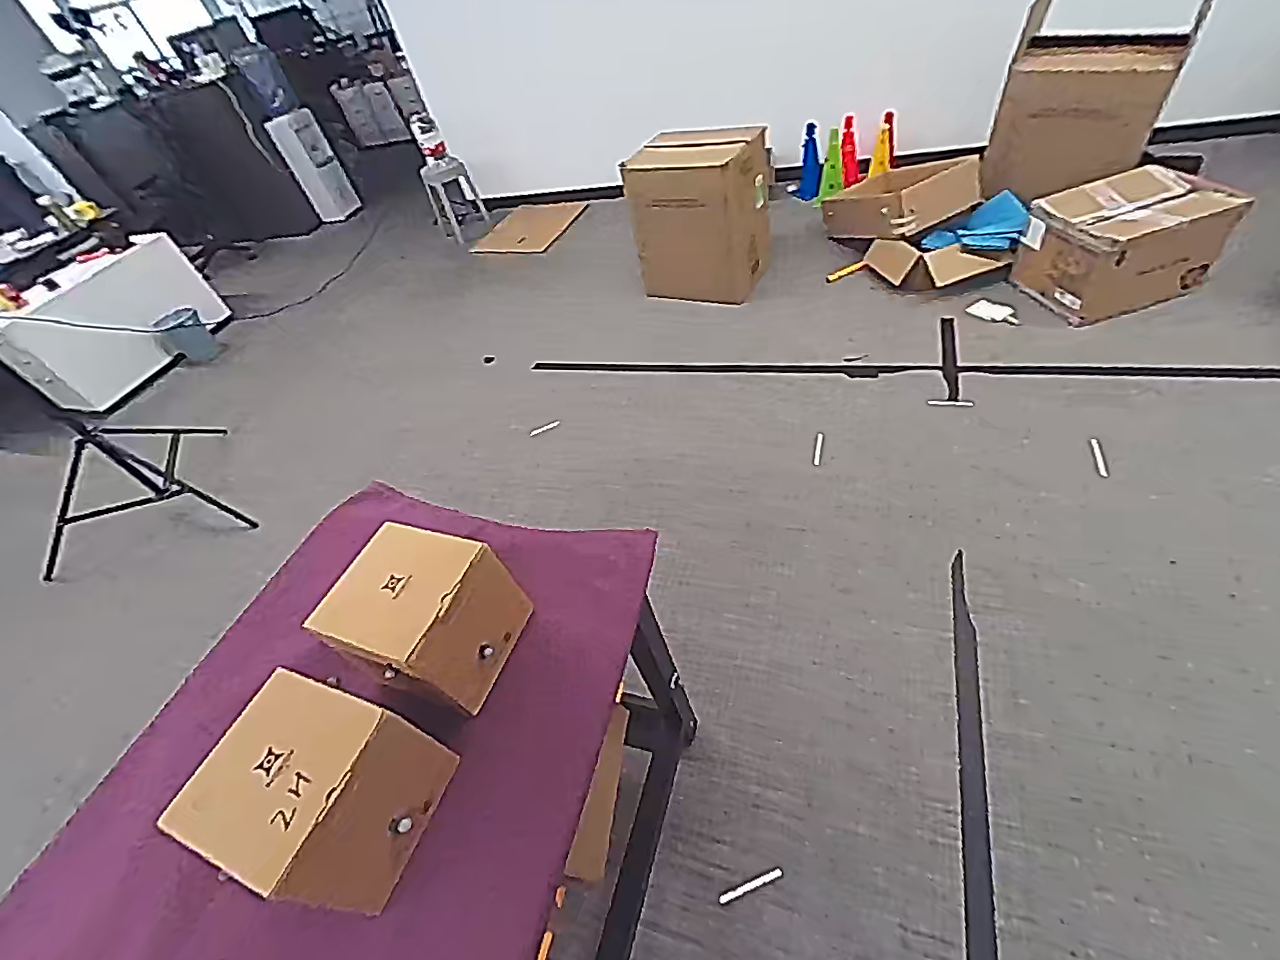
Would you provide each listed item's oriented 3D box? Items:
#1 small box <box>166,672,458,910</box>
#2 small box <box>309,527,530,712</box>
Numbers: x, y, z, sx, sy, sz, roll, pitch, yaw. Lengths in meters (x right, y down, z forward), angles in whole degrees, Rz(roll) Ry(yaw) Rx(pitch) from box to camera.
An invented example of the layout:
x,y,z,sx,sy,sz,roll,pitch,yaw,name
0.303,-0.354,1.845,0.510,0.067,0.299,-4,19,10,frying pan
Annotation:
x,y,z,sx,sy,sz,roll,pitch,yaw,name
-0.343,0.343,0.599,0.179,0.176,0.168,7,51,23,small box
-0.281,0.187,0.726,0.179,0.176,0.168,7,51,24,small box
